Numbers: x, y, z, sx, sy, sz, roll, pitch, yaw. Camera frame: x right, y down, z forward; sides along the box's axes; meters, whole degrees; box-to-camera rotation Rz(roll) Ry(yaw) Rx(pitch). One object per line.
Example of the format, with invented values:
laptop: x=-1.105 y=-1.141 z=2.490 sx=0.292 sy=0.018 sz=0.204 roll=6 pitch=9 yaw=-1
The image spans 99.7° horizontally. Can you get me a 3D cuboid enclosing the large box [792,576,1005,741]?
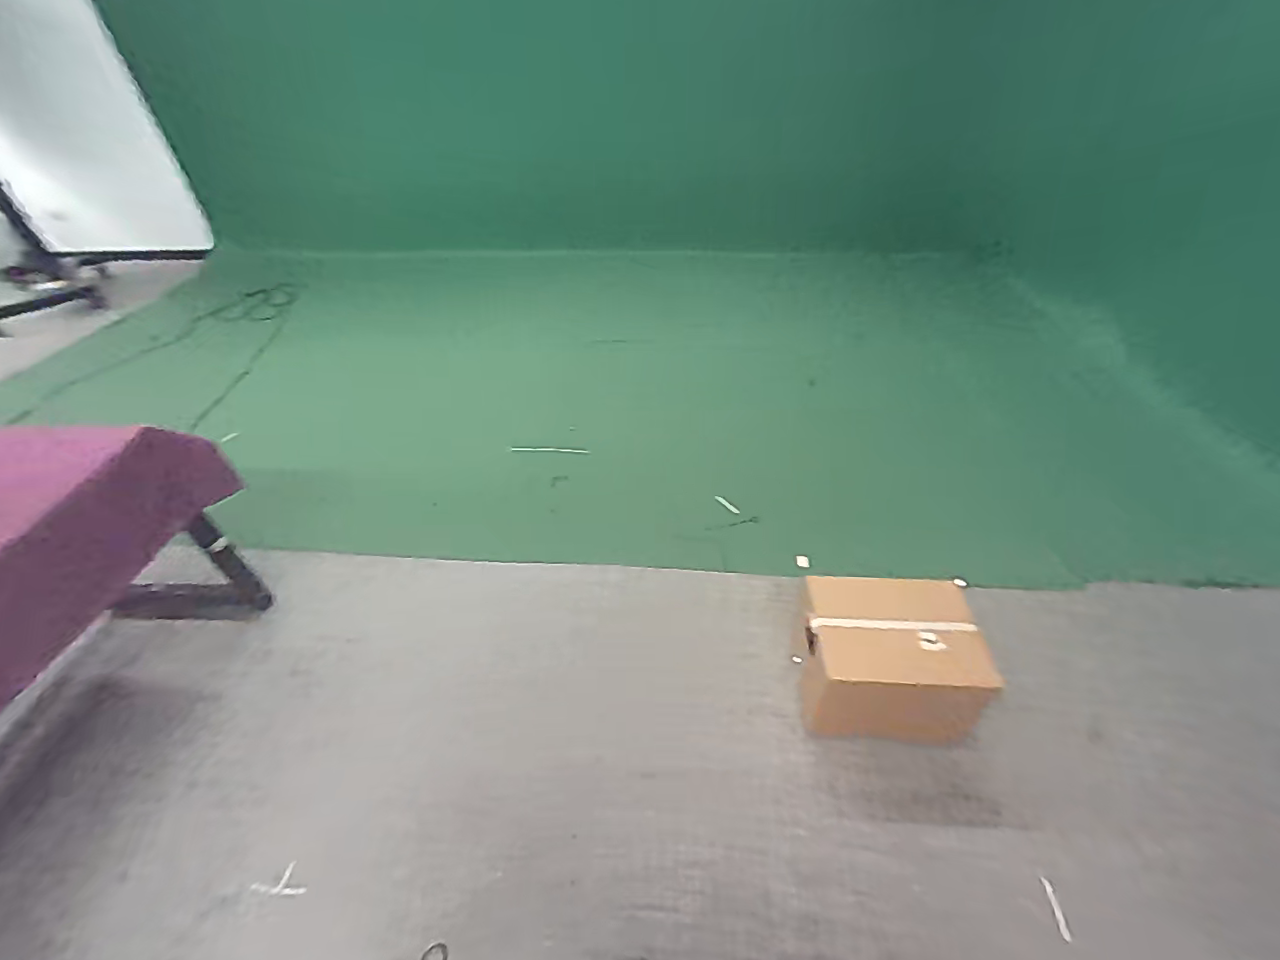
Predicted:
large box: x=0.660 y=0.484 z=1.467 sx=0.408 sy=0.320 sz=0.320 roll=2 pitch=41 yaw=4
